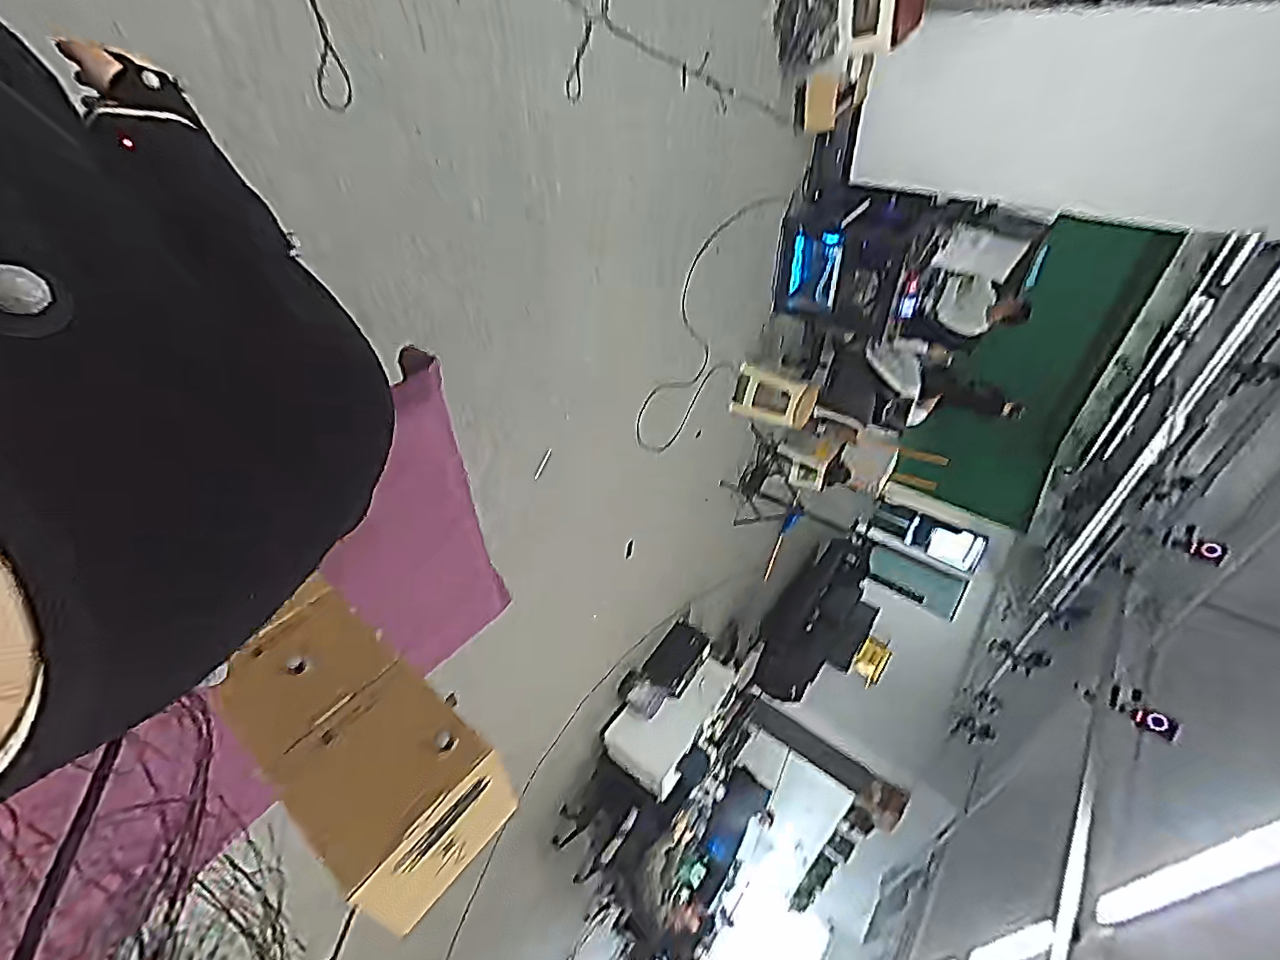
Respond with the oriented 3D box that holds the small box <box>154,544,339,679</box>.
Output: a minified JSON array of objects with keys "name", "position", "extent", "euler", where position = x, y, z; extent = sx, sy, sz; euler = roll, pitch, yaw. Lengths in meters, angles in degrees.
[{"name":"small box","position":[-0.533,0.213,0.771],"extent":[0.168,0.176,0.179],"euler":[-39,144,-37]}]

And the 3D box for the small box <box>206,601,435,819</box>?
[{"name":"small box","position":[-0.404,0.283,0.698],"extent":[0.168,0.176,0.179],"euler":[-40,144,-35]}]
